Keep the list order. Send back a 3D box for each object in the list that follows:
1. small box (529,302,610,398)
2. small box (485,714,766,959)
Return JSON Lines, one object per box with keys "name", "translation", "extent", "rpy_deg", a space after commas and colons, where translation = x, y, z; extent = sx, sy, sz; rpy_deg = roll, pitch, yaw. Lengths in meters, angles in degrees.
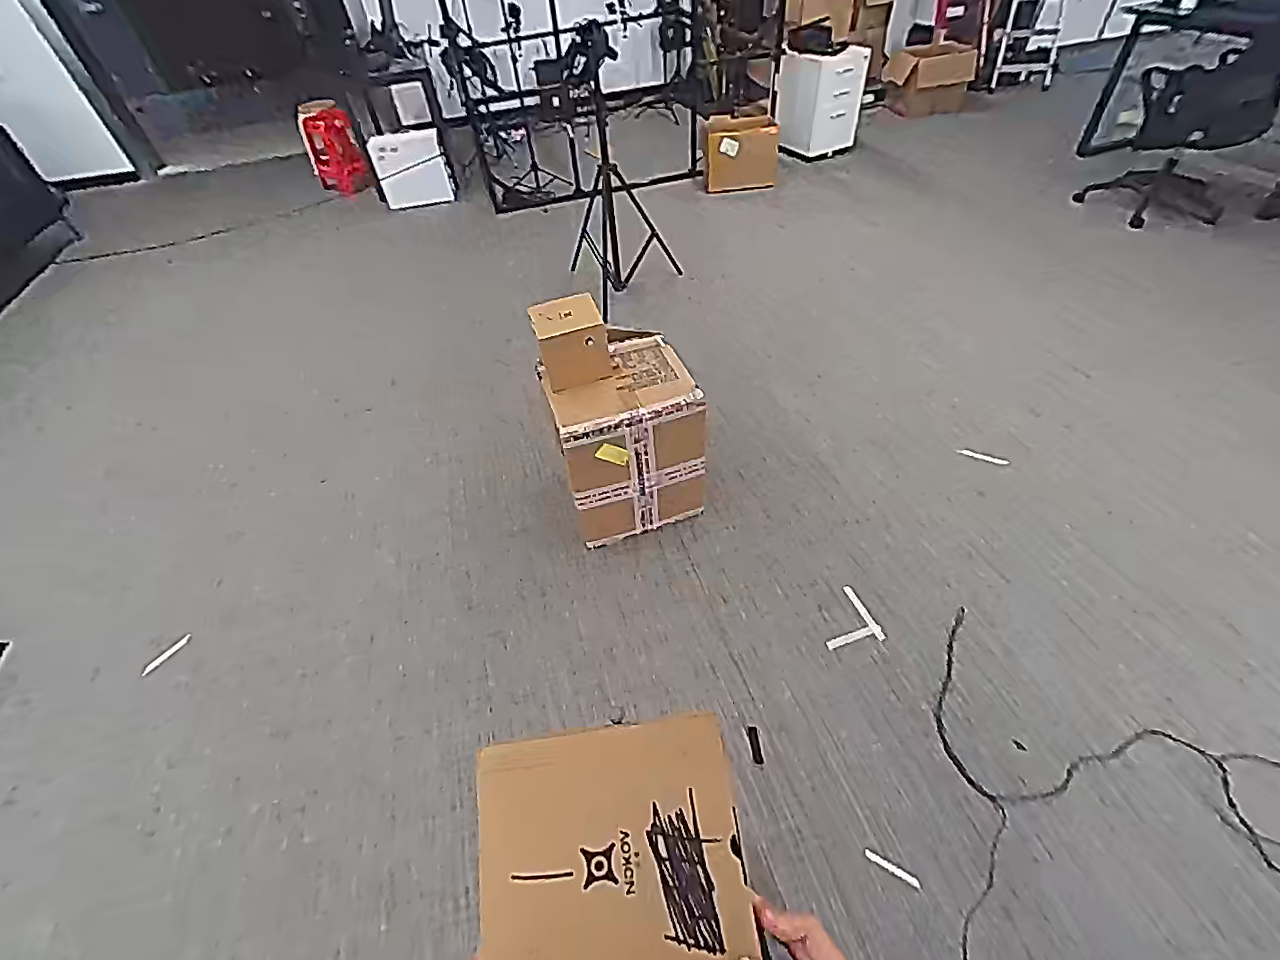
{"name": "small box", "translation": [-0.185, -0.351, 1.467], "extent": [0.179, 0.176, 0.168], "rpy_deg": [-17, 48, -6]}
{"name": "small box", "translation": [-0.016, 0.287, 0.434], "extent": [0.179, 0.176, 0.168], "rpy_deg": [-8, 66, -3]}
